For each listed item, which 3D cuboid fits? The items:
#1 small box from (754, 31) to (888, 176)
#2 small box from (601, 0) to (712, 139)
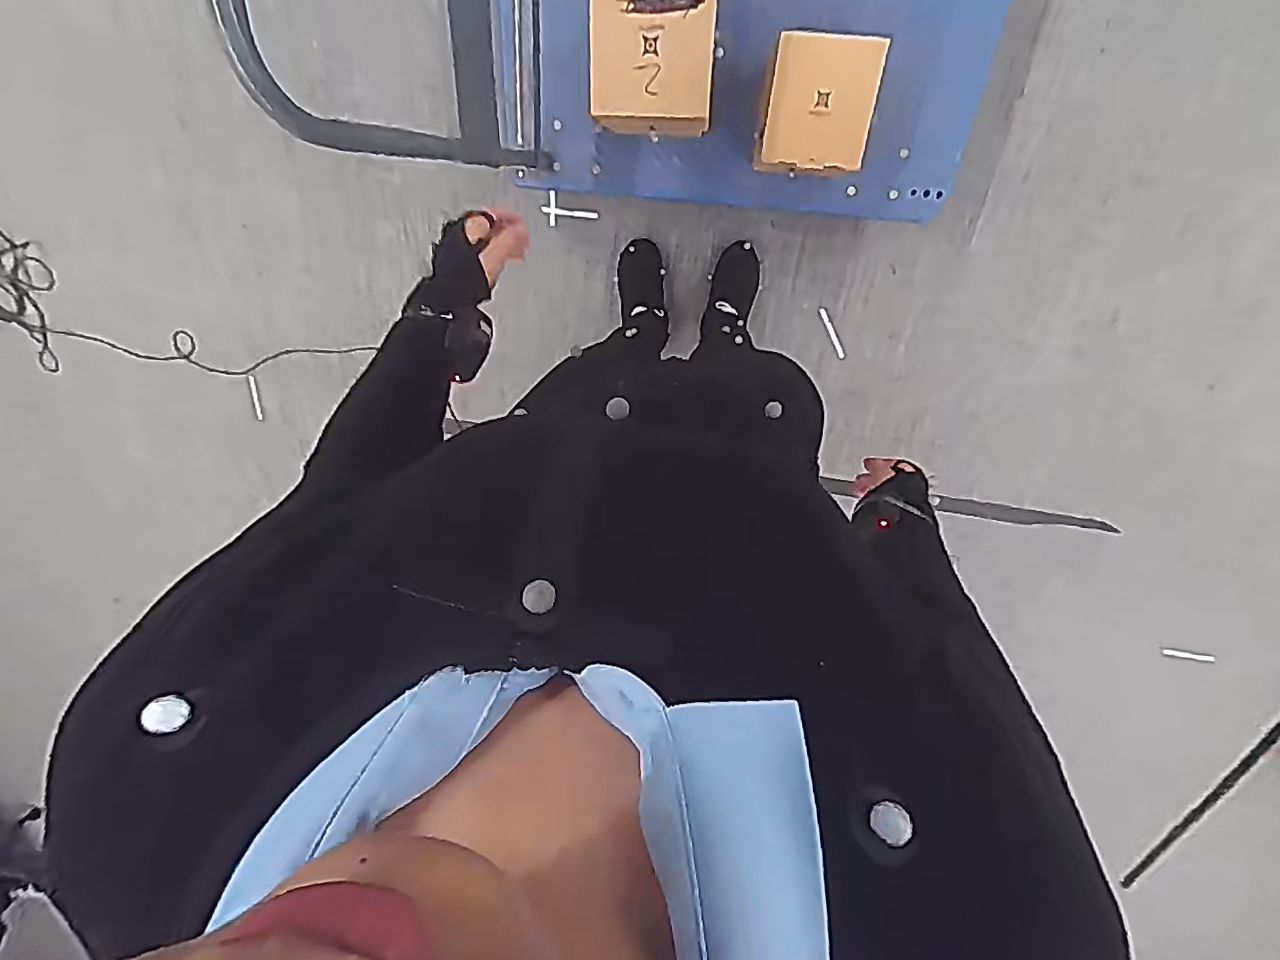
[{"bbox_3d":[0.294,-0.630,0.923,0.168,0.176,0.179,7,118,3],"label":"small box"},{"bbox_3d":[0.030,-0.697,0.919,0.168,0.176,0.179,6,118,4],"label":"small box"}]
